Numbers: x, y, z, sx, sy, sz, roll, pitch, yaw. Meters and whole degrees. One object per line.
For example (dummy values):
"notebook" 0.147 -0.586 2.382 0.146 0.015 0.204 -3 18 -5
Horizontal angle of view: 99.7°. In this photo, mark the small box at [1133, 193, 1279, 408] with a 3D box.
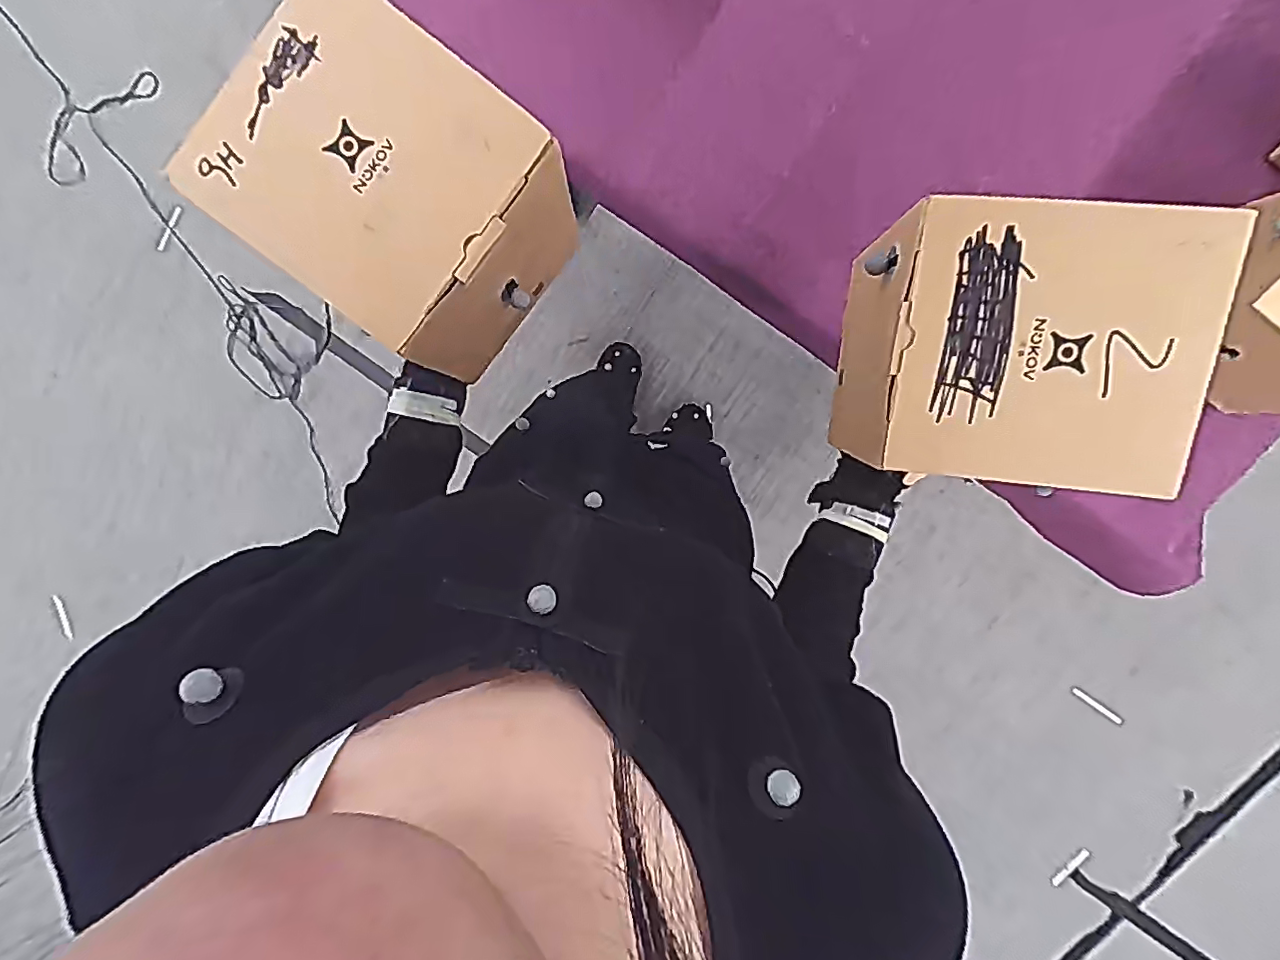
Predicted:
"small box" 0.684 -0.188 0.566 0.168 0.176 0.179 40 100 0

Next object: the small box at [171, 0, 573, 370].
"small box" -0.166 -0.199 0.404 0.179 0.176 0.168 37 92 -4
